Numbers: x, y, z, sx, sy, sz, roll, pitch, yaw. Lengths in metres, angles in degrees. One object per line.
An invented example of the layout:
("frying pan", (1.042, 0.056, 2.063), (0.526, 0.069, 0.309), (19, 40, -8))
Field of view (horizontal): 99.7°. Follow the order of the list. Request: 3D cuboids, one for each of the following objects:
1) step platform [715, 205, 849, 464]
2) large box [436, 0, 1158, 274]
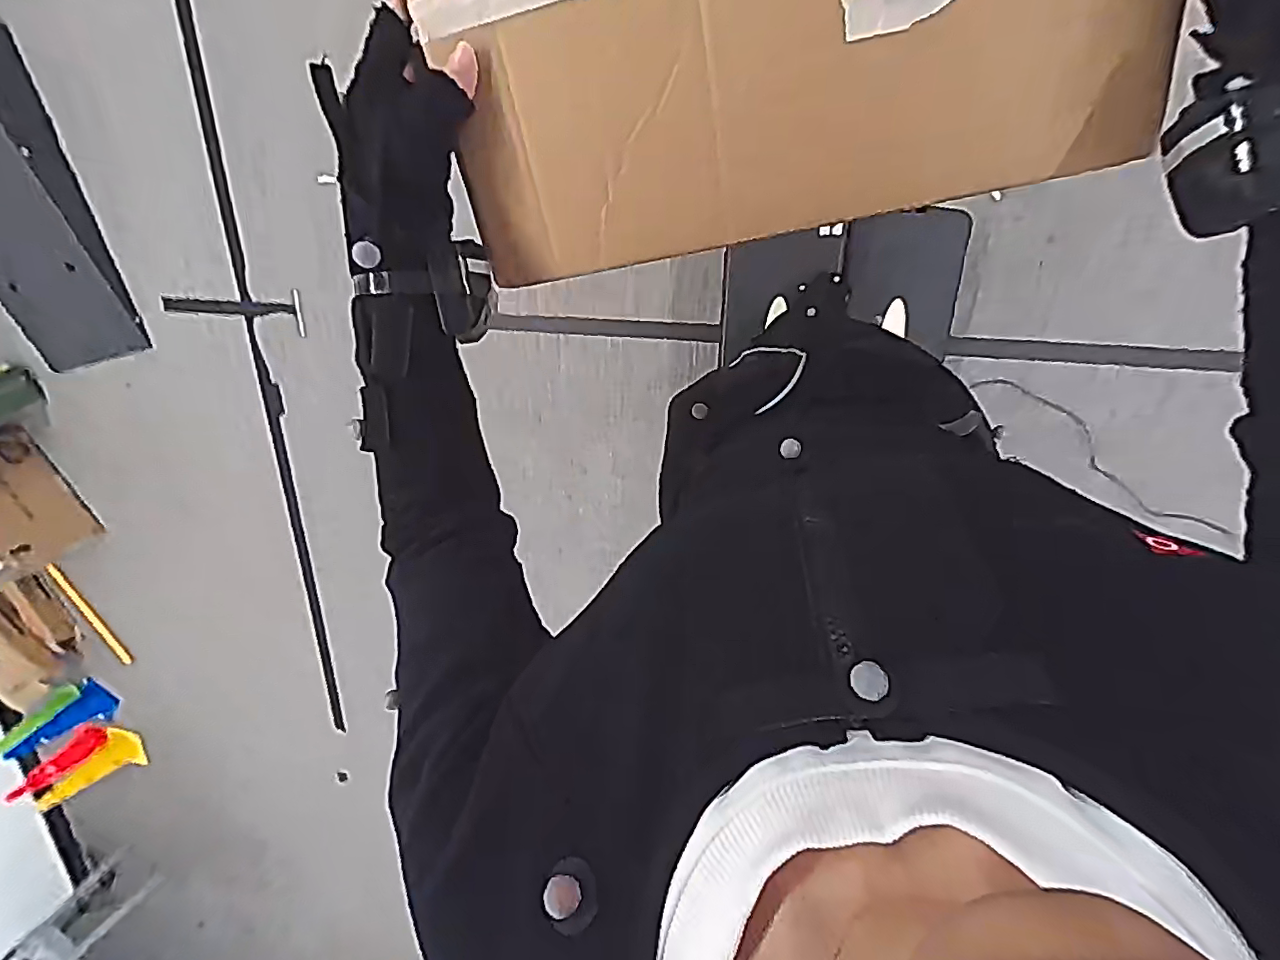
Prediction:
("step platform", (0.355, -0.384, 1.414), (0.286, 0.204, 0.684), (4, 108, 11))
("large box", (0.086, -0.377, 0.424), (0.408, 0.320, 0.320), (-7, 116, 12))
